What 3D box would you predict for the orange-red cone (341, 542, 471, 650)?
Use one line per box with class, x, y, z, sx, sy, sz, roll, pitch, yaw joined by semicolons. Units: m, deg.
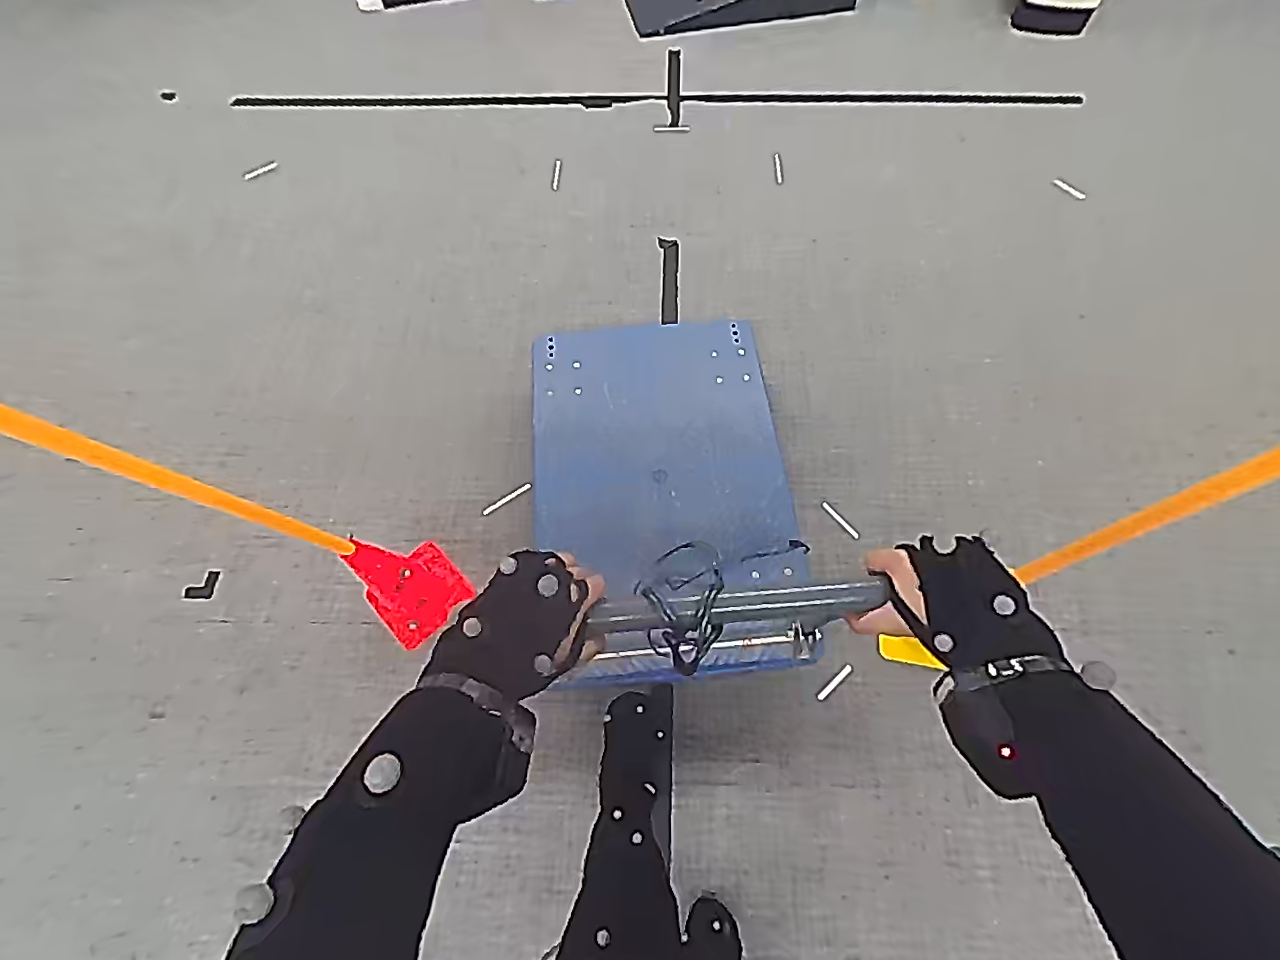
orange-red cone;-0.526;0.202;1.136;0.199;0.360;0.198;-40;71;-18
